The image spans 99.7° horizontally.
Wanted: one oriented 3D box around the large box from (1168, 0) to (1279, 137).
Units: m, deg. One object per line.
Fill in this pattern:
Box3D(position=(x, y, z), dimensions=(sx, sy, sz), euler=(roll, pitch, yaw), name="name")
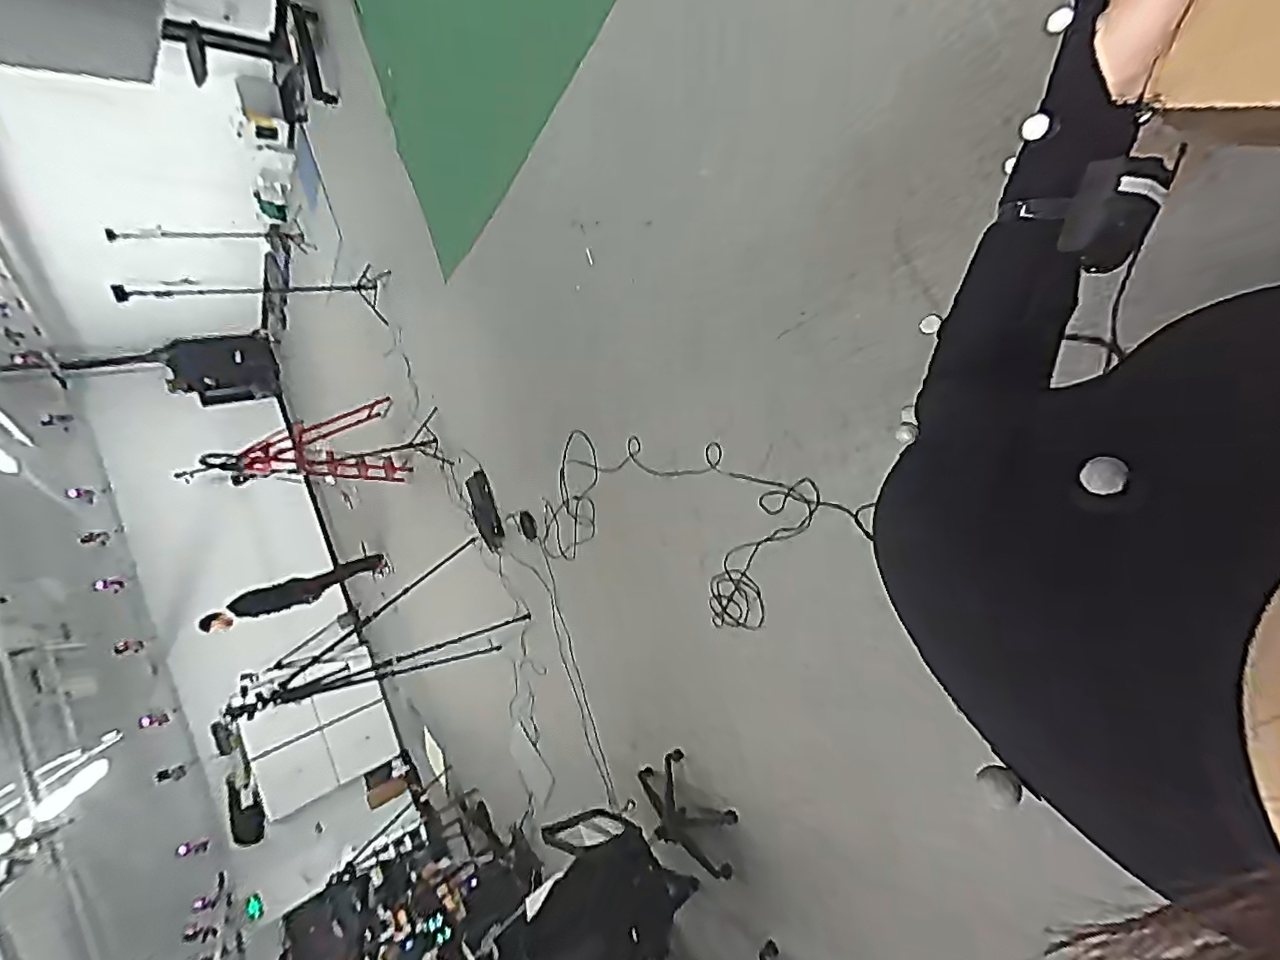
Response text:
Box3D(position=(0.596, -0.364, 0.261), dimensions=(0.408, 0.320, 0.320), euler=(29, 128, 37), name="large box")
